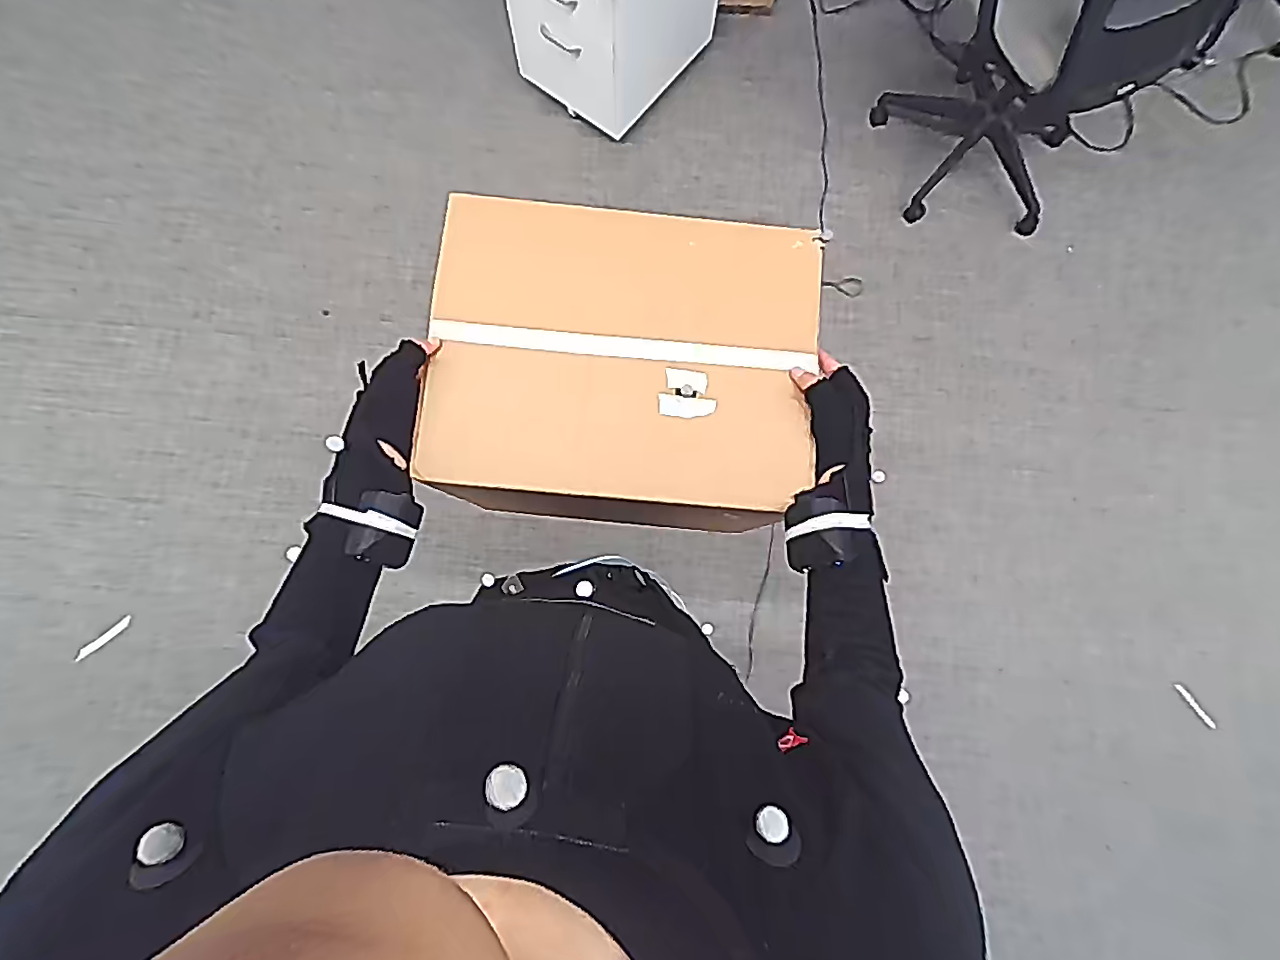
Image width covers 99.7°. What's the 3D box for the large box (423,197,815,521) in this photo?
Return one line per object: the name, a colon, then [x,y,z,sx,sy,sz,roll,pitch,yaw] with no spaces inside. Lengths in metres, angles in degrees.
large box: [-0.022,-0.123,0.722,0.408,0.320,0.320,6,82,-2]
